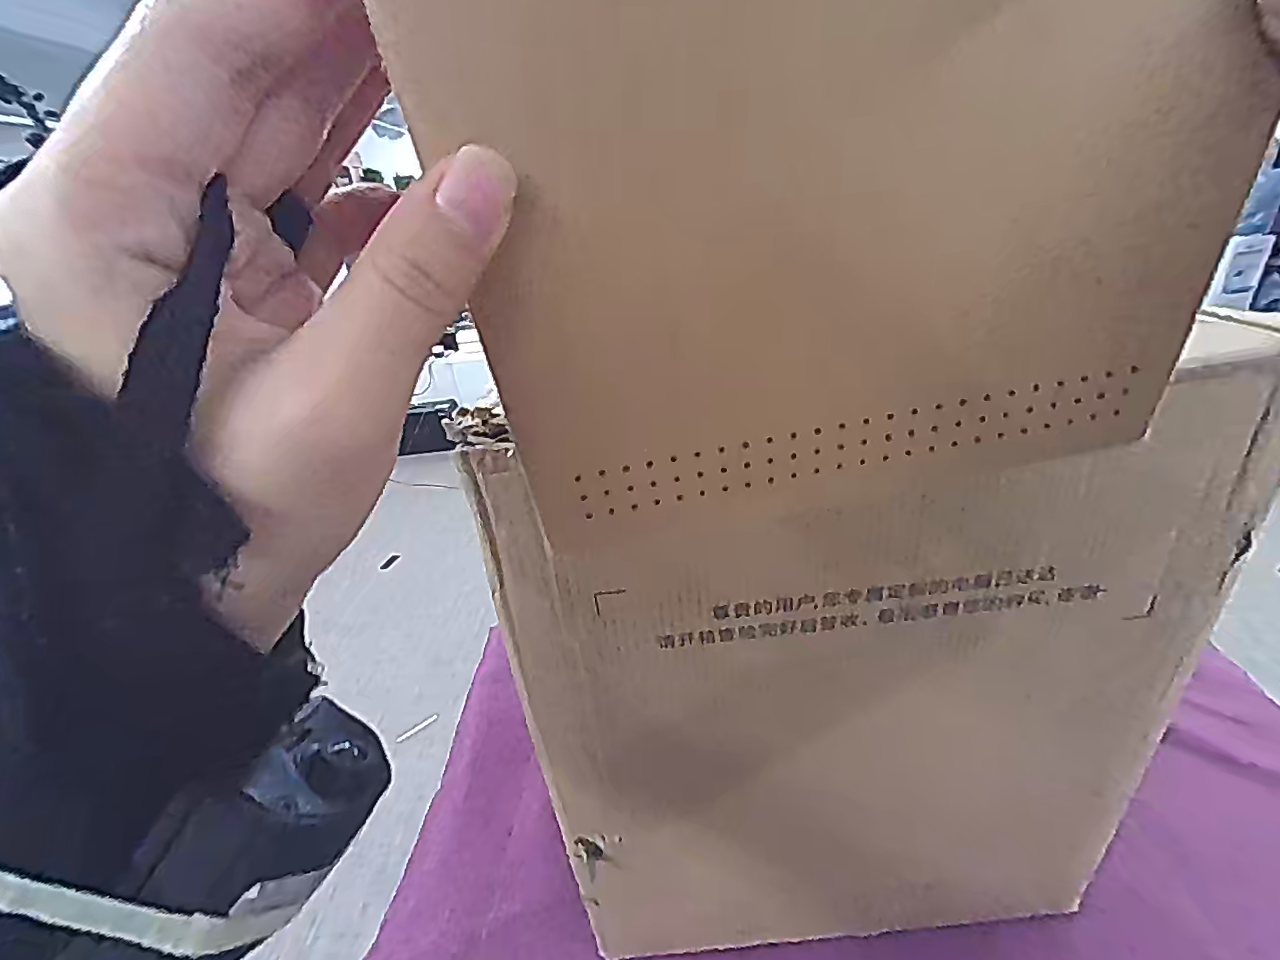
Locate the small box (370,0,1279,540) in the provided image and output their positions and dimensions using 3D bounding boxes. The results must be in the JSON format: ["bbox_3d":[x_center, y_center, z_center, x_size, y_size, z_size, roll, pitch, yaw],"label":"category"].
[{"bbox_3d":[0.039,-0.104,0.177,0.179,0.176,0.168,-11,34,1],"label":"small box"}]
